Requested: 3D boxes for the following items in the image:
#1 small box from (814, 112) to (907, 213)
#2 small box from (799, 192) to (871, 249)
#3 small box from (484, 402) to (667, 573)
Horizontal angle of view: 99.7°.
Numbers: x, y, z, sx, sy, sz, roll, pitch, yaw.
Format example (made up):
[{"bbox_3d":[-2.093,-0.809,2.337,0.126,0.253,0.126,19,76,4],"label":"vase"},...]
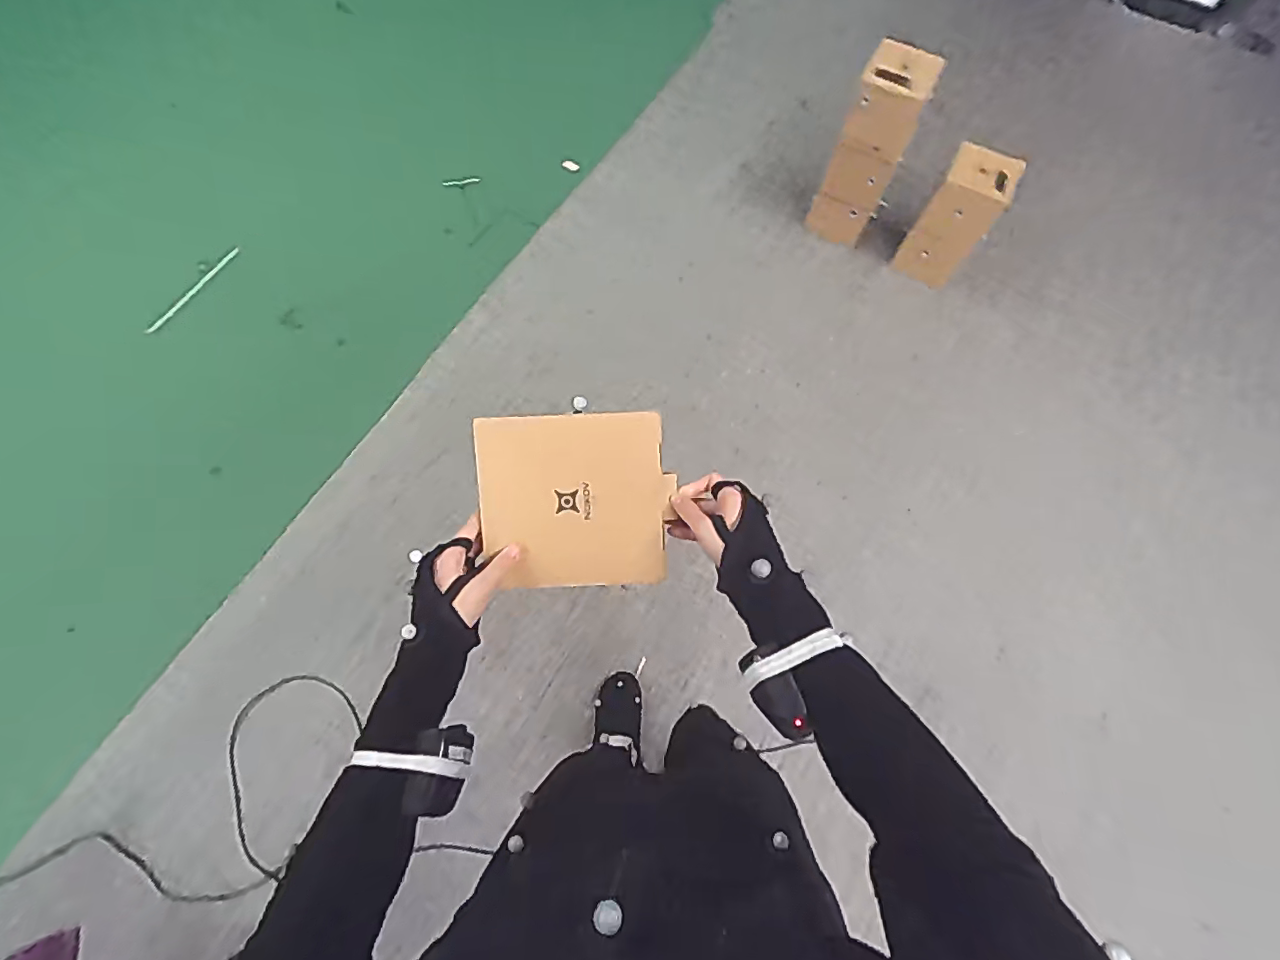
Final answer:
[{"bbox_3d":[0.640,-0.923,1.588,0.179,0.176,0.168,26,73,10],"label":"small box"},{"bbox_3d":[0.643,-0.880,1.745,0.179,0.176,0.168,26,73,9],"label":"small box"},{"bbox_3d":[-0.062,0.001,0.604,0.179,0.176,0.168,-2,97,-1],"label":"small box"}]
